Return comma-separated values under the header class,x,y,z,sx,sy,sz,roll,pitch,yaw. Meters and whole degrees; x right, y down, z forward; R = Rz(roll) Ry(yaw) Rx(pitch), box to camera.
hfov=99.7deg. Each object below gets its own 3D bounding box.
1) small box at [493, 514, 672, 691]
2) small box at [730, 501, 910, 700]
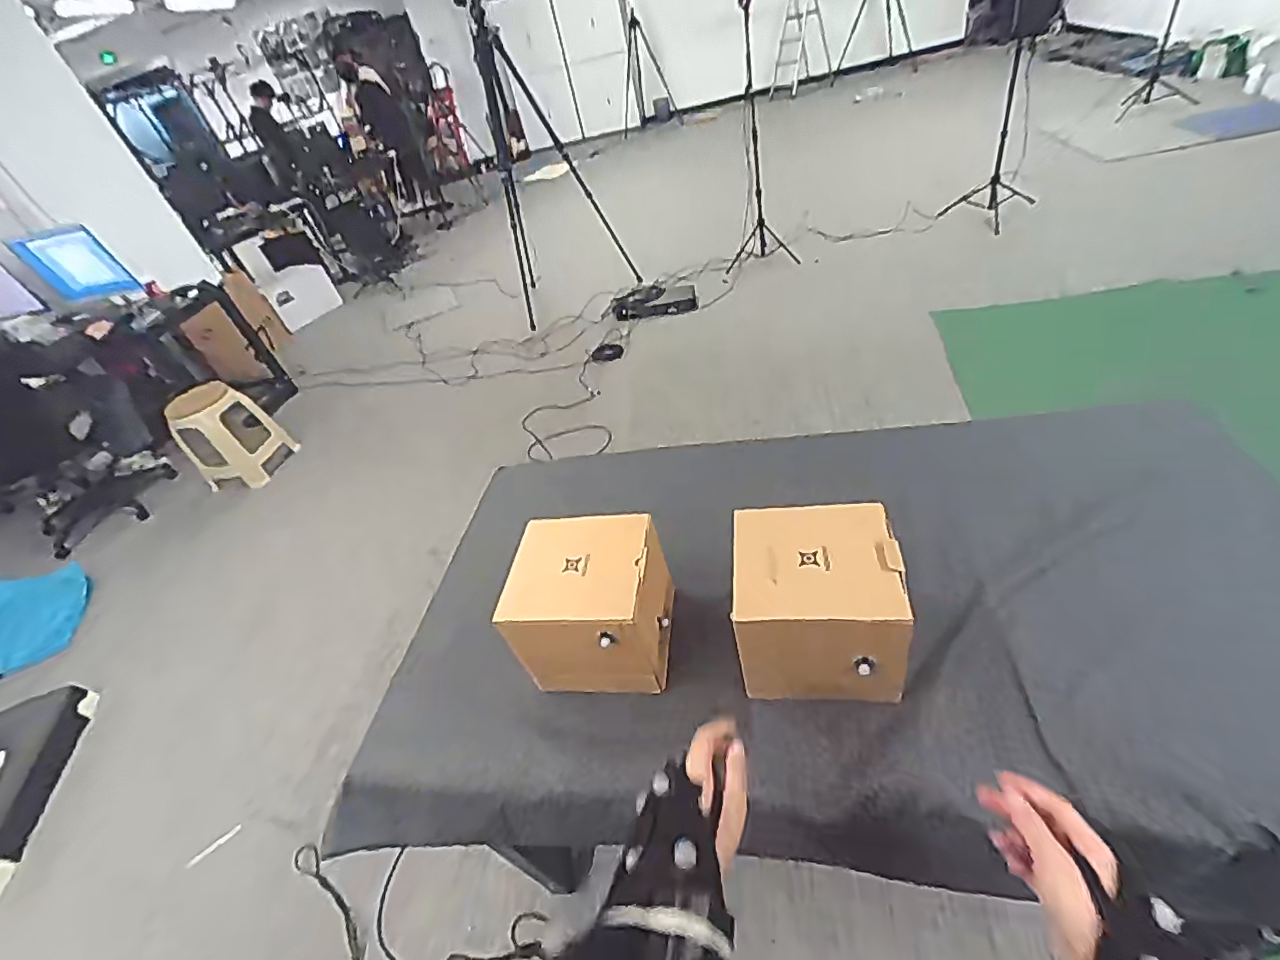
class,x,y,z,sx,sy,sz,roll,pitch,yaw
small box,-0.063,0.166,0.724,0.179,0.176,0.168,-4,41,14
small box,0.207,0.147,0.650,0.179,0.176,0.168,-6,40,15
